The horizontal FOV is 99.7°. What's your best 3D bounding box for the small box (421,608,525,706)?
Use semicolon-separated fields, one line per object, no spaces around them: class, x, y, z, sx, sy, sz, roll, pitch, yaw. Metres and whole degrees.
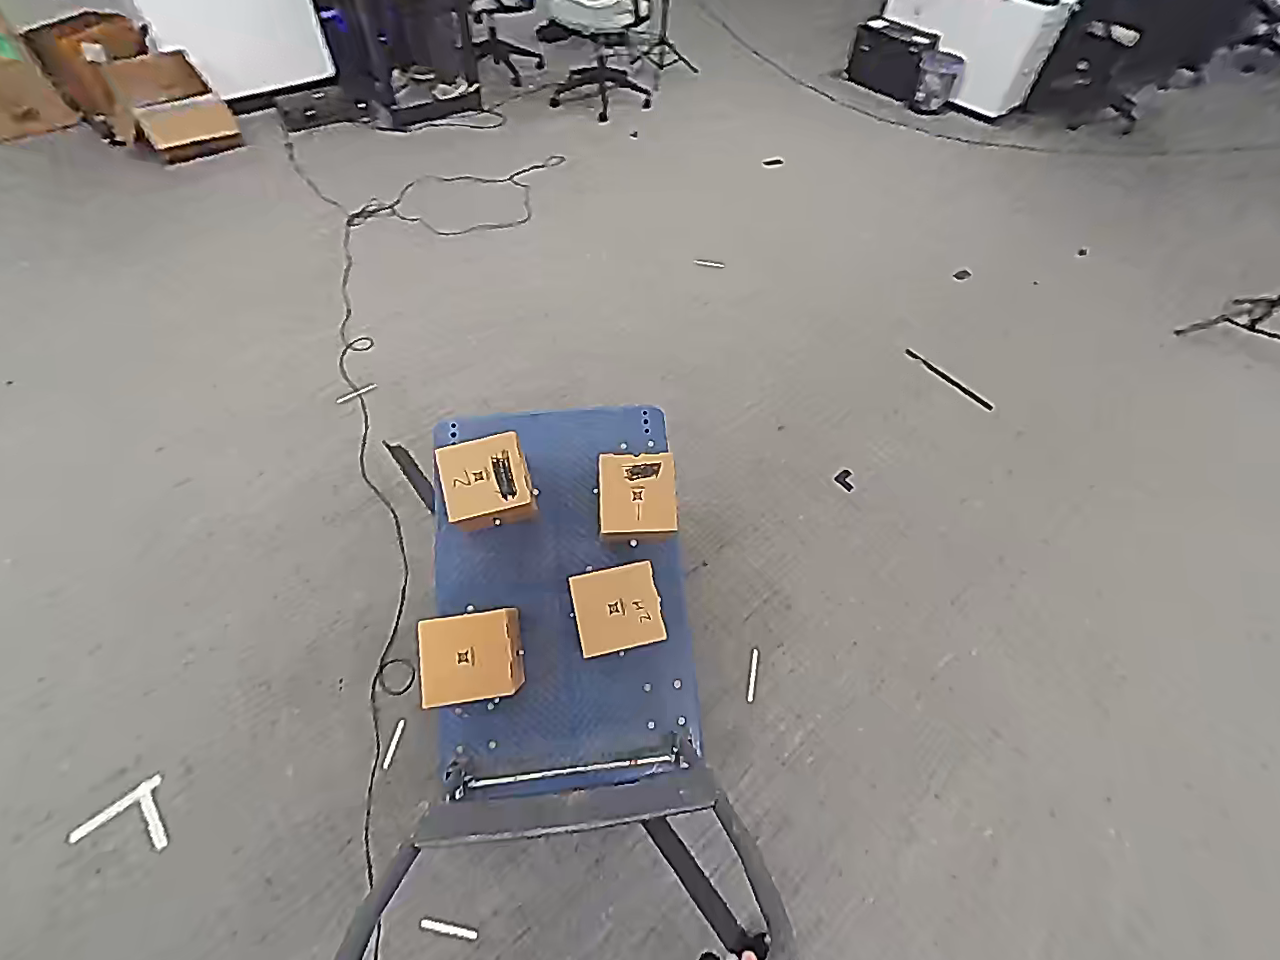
small box;-0.346;0.367;1.140;0.179;0.176;0.168;-7;77;-8

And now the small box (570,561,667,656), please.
small box;-0.049;0.280;1.183;0.179;0.176;0.168;-11;78;-7

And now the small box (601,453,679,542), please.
small box;-0.007;0.044;1.243;0.168;0.176;0.179;-1;78;-4
